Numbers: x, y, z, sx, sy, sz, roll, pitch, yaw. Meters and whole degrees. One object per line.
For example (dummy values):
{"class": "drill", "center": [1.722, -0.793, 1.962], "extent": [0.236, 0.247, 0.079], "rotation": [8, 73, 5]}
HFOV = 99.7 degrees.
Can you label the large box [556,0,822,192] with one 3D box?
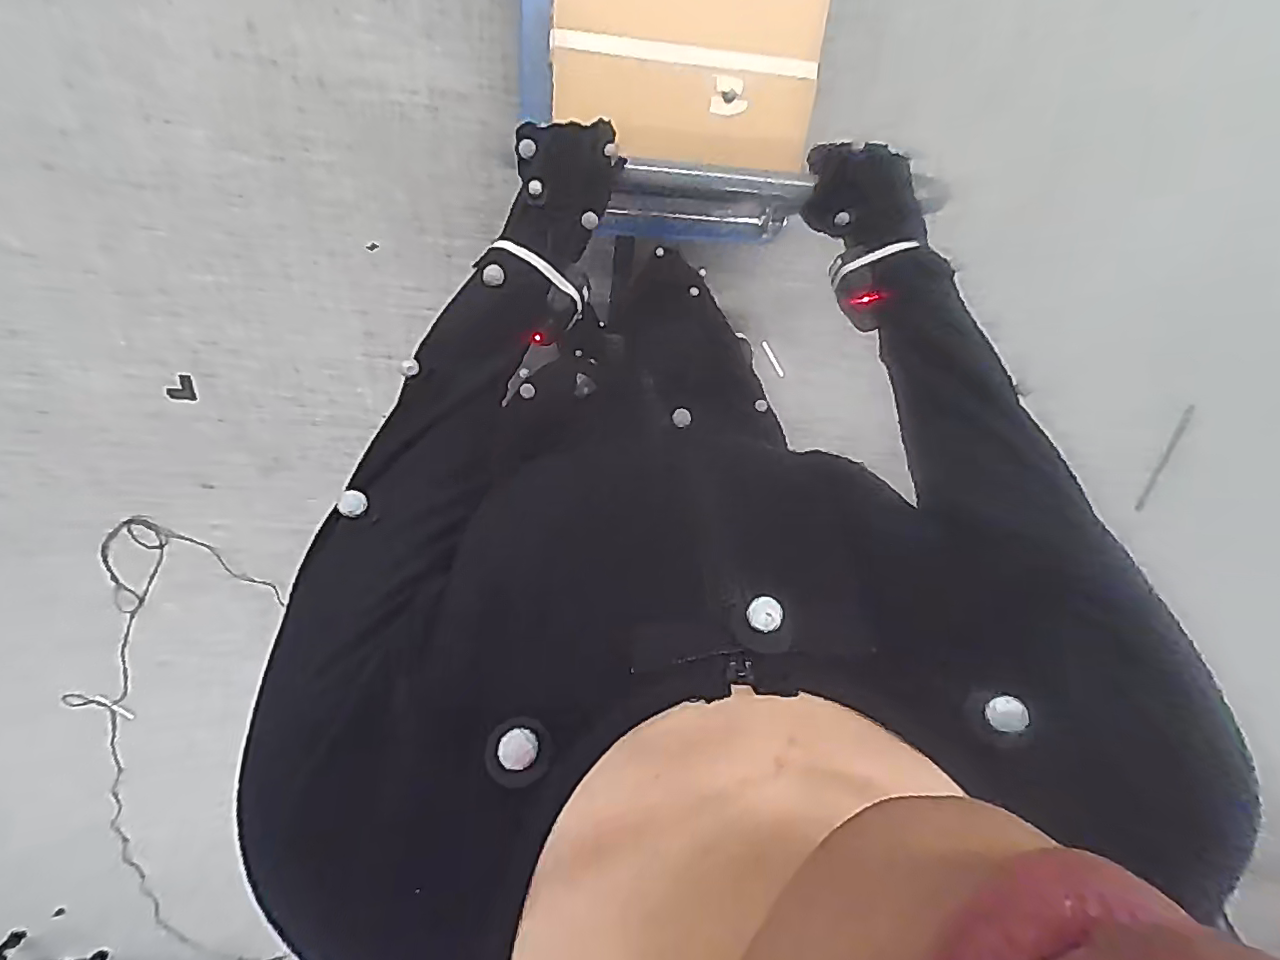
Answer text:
{"class": "large box", "center": [0.056, -0.710, 0.960], "extent": [0.408, 0.320, 0.320], "rotation": [2, 115, -8]}
